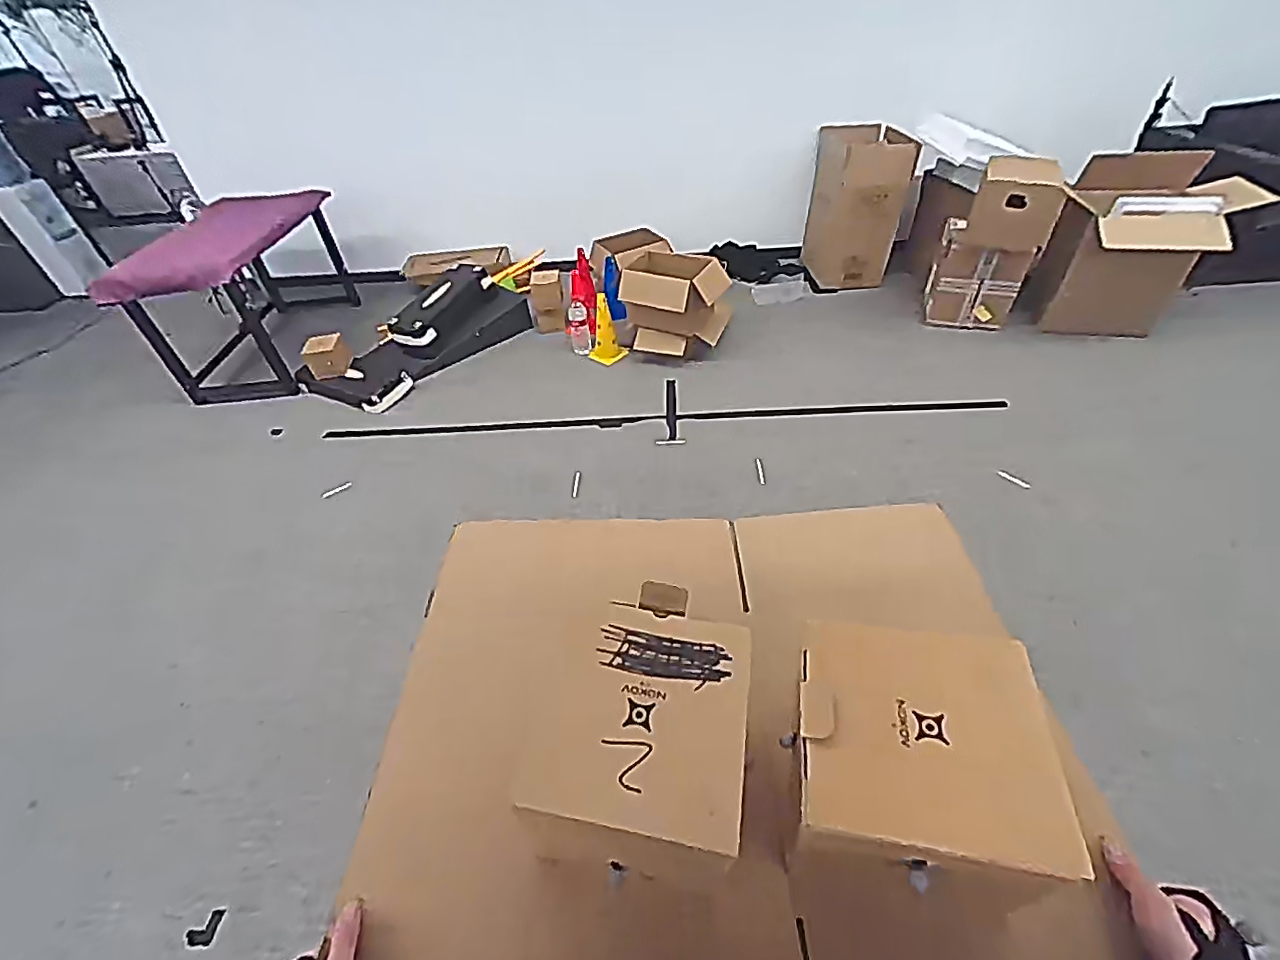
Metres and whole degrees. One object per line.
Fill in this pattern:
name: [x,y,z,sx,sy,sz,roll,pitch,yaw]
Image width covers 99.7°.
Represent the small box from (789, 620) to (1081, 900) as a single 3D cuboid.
small box: [0.229,0.247,0.477,0.179,0.176,0.168,3,47,14]
